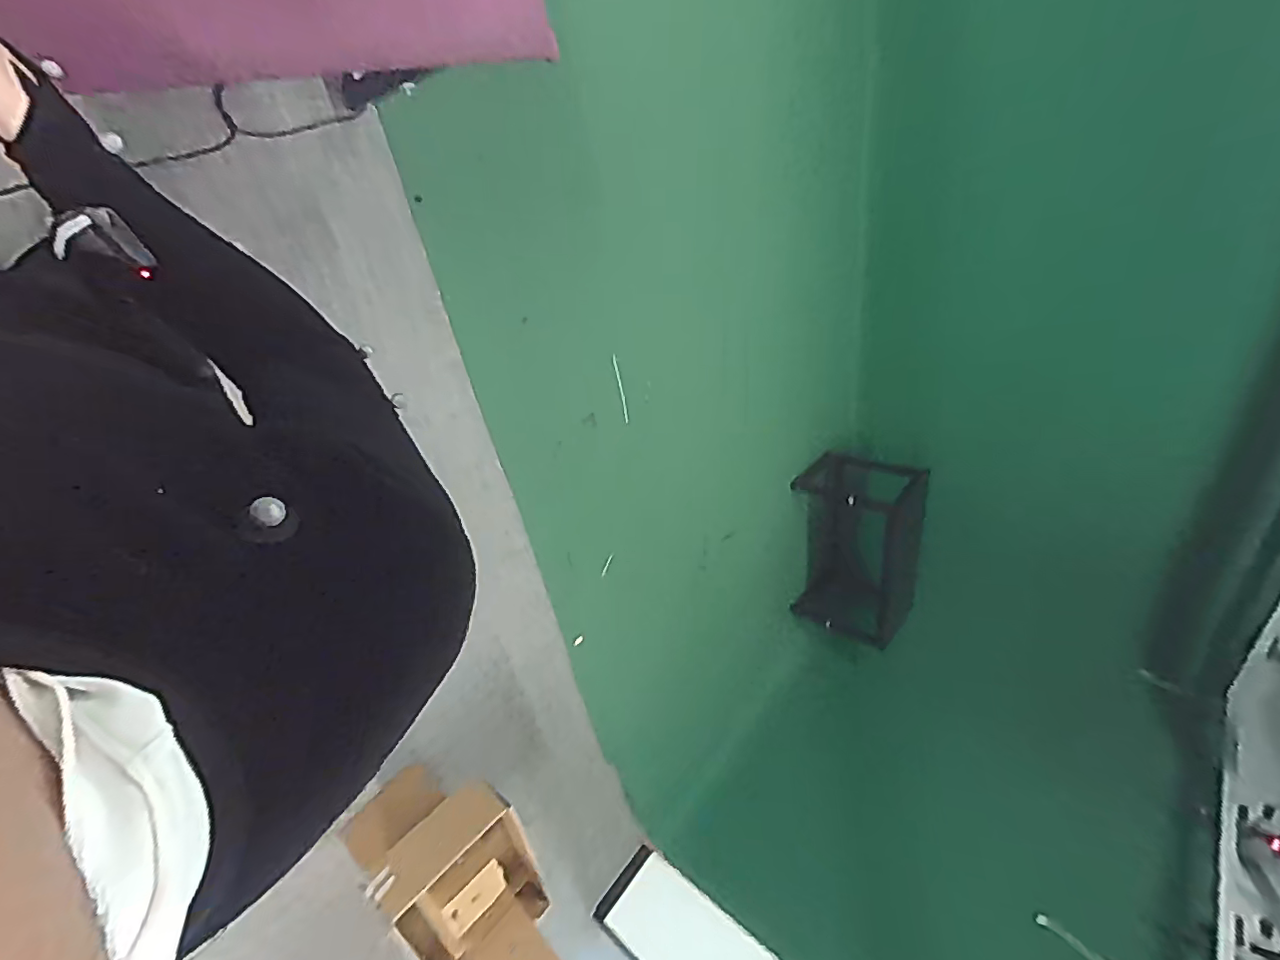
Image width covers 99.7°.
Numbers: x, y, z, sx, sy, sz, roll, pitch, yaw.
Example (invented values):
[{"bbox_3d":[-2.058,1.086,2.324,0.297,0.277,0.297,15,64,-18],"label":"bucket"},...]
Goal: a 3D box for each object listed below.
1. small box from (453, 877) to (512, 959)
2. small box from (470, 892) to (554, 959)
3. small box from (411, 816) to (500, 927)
[{"bbox_3d":[-0.520,1.400,1.764,0.179,0.176,0.168,-34,128,-37],"label":"small box"},{"bbox_3d":[-0.399,1.435,1.660,0.179,0.176,0.168,-37,129,-37],"label":"small box"},{"bbox_3d":[-0.555,1.168,1.628,0.179,0.176,0.168,-33,128,-39],"label":"small box"}]
